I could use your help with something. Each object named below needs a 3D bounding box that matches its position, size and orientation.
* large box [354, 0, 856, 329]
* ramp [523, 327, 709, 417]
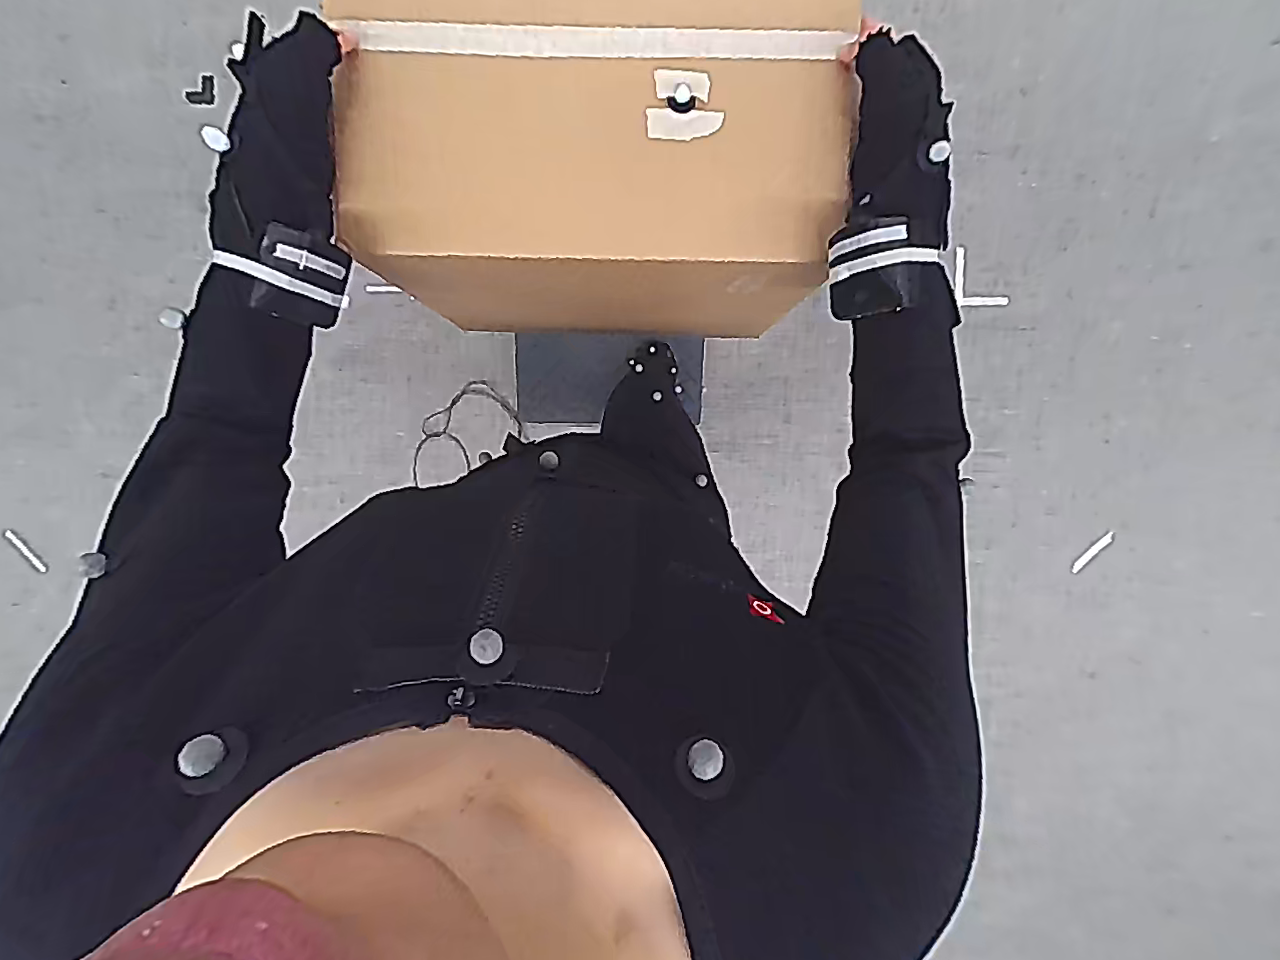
[{"bbox_3d":[-0.031,-0.350,0.577,0.408,0.320,0.320,1,94,-1],"label":"large box"},{"bbox_3d":[-0.055,-0.654,1.338,0.509,0.206,0.991,-1,95,-3],"label":"ramp"}]
